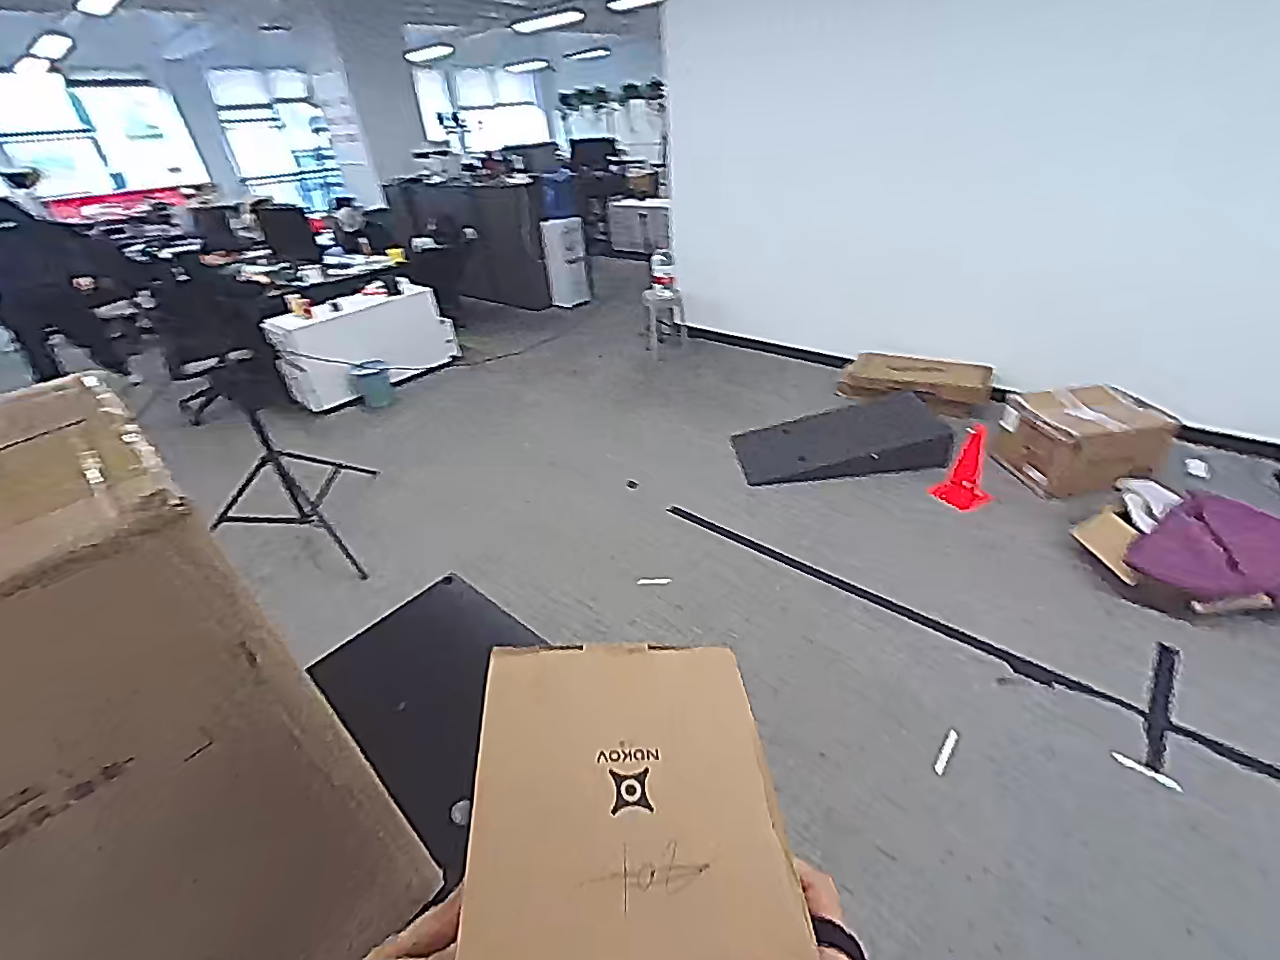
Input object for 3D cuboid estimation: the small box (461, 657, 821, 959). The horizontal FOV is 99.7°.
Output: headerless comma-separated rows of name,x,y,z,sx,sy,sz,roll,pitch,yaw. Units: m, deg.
small box,-0.016,0.235,0.340,0.168,0.176,0.179,4,38,-10
